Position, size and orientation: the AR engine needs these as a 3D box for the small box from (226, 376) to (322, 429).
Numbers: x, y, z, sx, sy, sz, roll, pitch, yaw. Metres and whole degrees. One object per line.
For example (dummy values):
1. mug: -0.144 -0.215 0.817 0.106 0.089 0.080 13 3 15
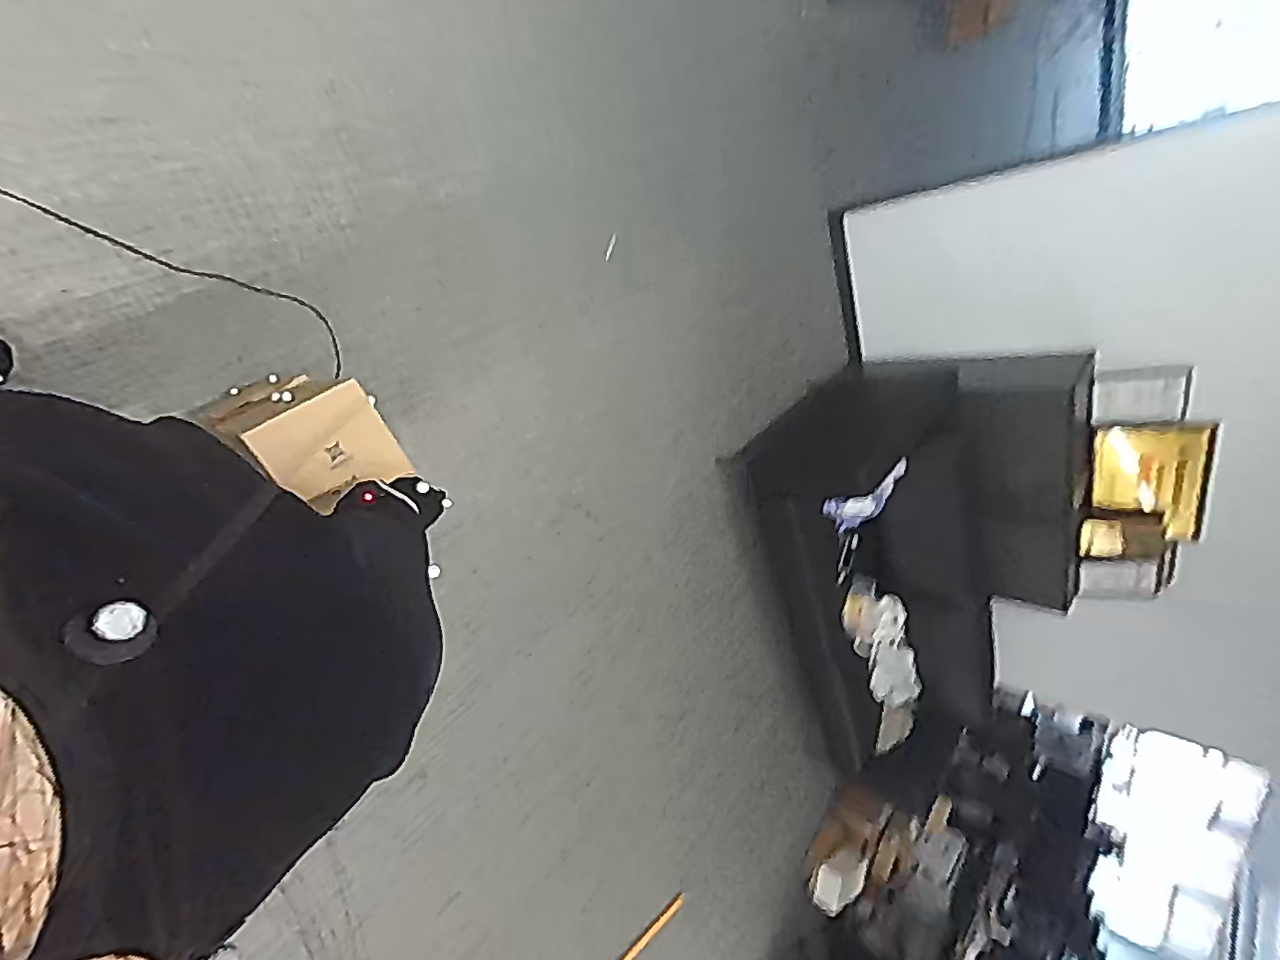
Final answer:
1. small box: -0.701 -0.096 1.100 0.168 0.176 0.179 -41 123 -30

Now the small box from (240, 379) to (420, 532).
1. small box: -0.491 -0.044 0.854 0.168 0.176 0.179 -40 121 -30

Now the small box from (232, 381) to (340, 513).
1. small box: -0.598 -0.064 0.977 0.179 0.176 0.168 -41 122 -31
